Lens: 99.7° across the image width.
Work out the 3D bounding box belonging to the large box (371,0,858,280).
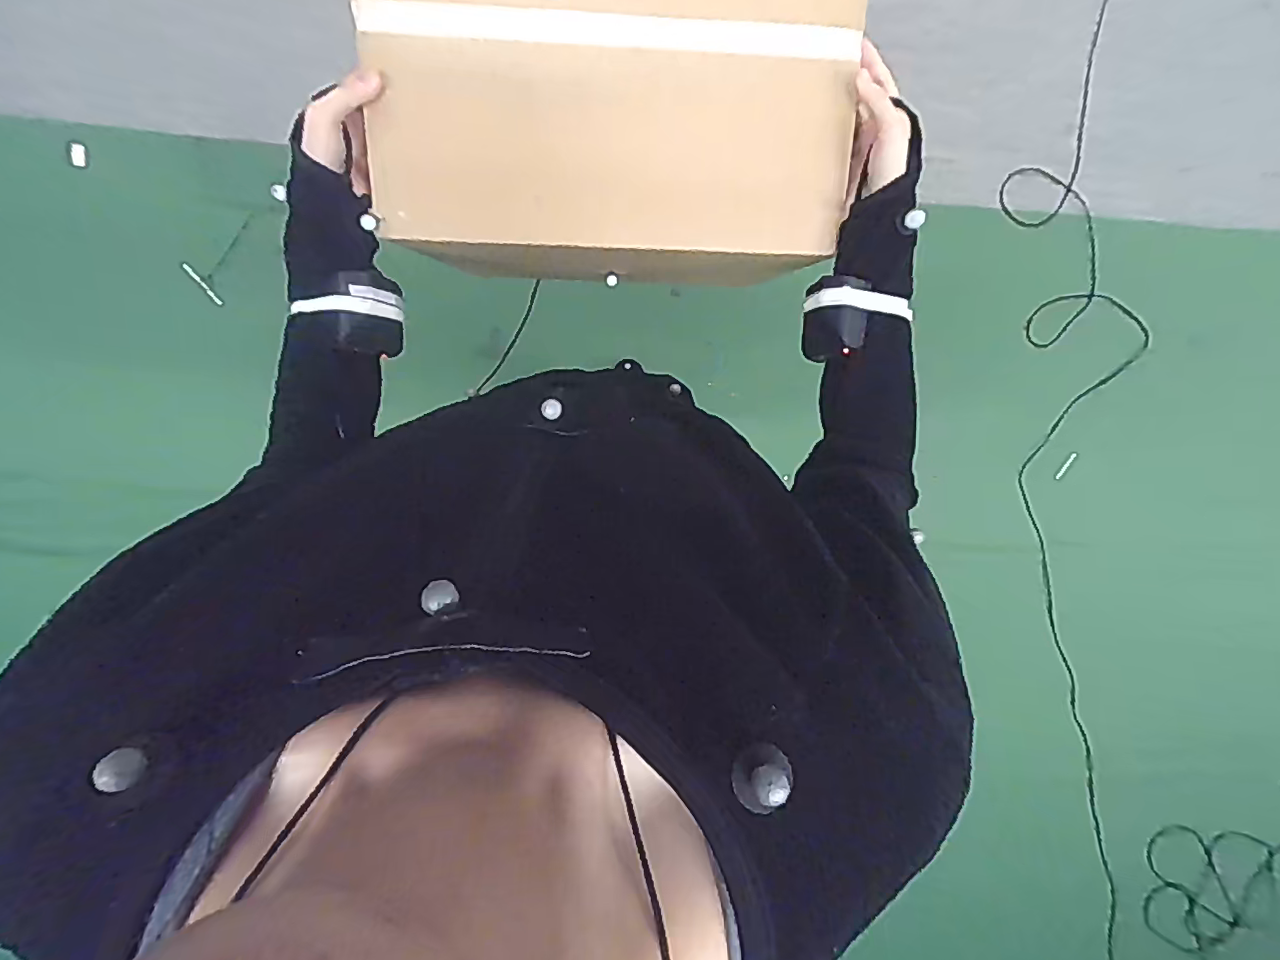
[{"bbox_3d":[-0.025,-0.395,0.592,0.408,0.320,0.320,1,105,-4],"label":"large box"}]
